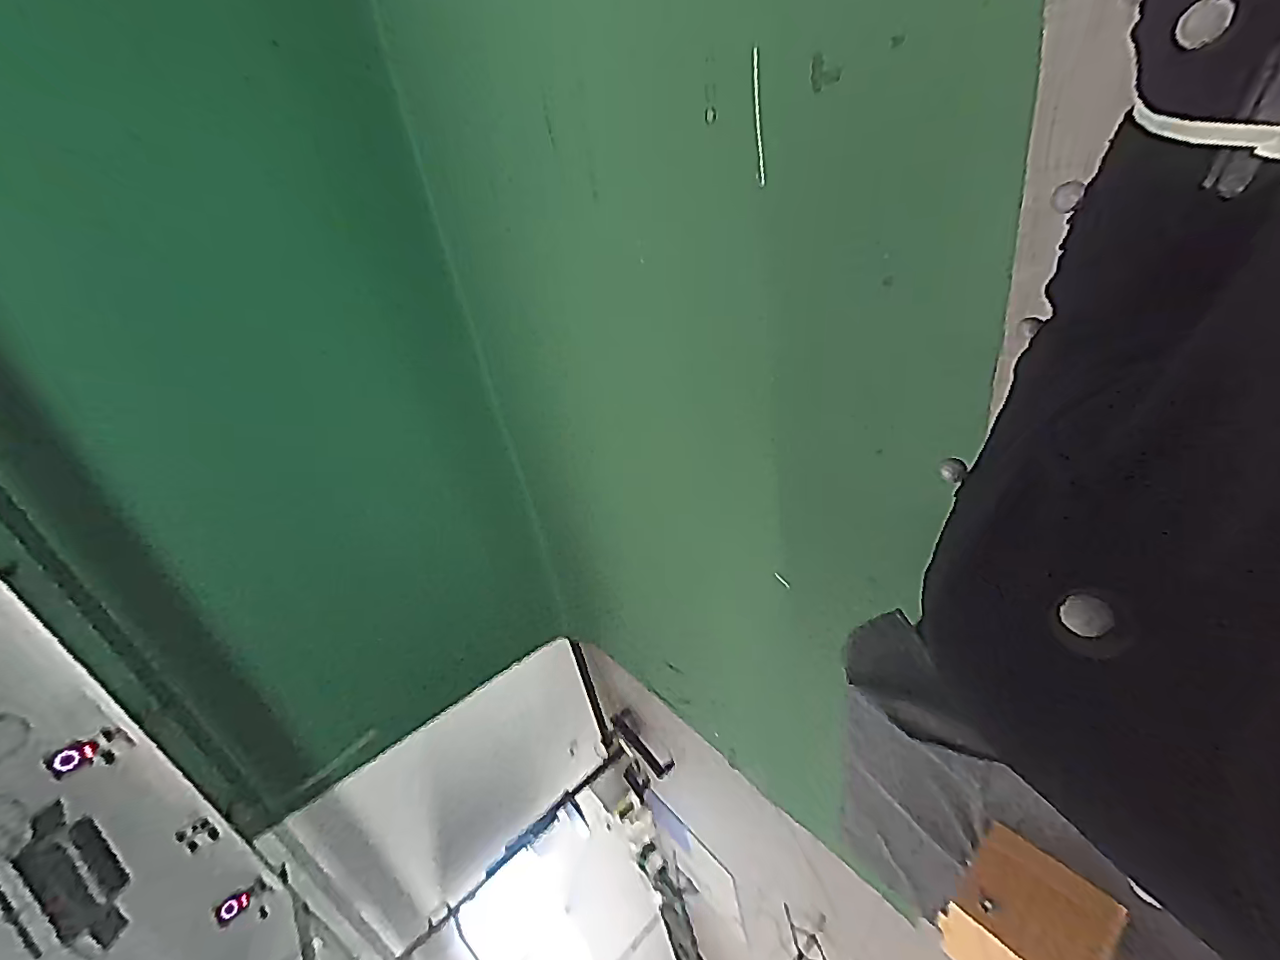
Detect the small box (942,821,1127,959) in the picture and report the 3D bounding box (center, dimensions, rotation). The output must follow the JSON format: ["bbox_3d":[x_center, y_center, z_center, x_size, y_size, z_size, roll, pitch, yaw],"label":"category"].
[{"bbox_3d":[0.598,0.679,0.827,0.179,0.176,0.168,25,135,47],"label":"small box"}]
